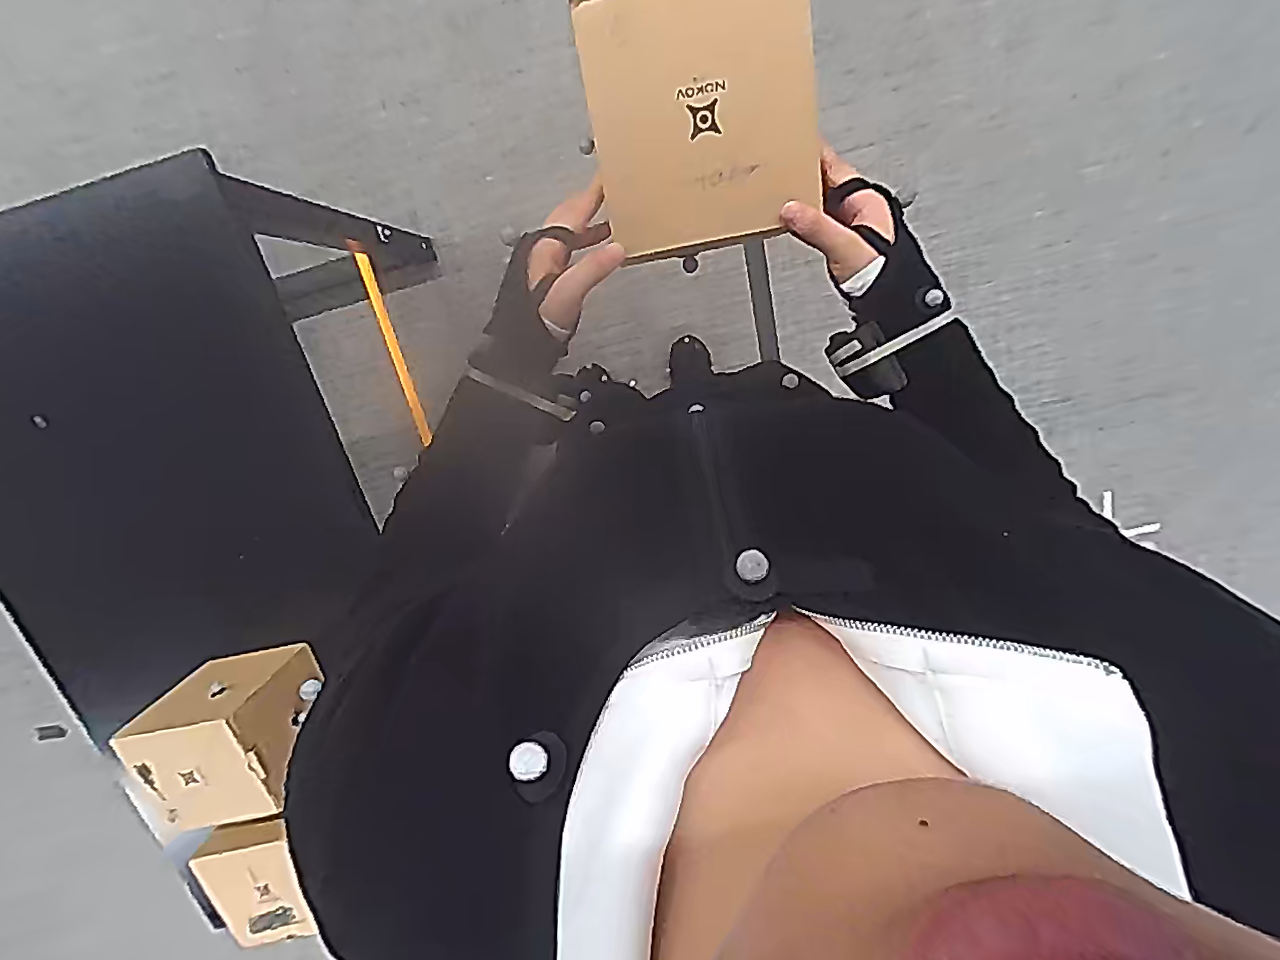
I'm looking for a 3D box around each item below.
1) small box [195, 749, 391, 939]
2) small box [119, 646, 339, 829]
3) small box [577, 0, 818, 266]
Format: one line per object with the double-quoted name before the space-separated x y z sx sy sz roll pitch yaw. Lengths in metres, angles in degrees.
"small box" -0.532 0.570 0.861 0.168 0.176 0.179 -15 105 6
"small box" -0.584 0.370 0.803 0.179 0.176 0.168 -13 106 5
"small box" 0.046 -0.298 0.480 0.168 0.176 0.179 -10 110 3
